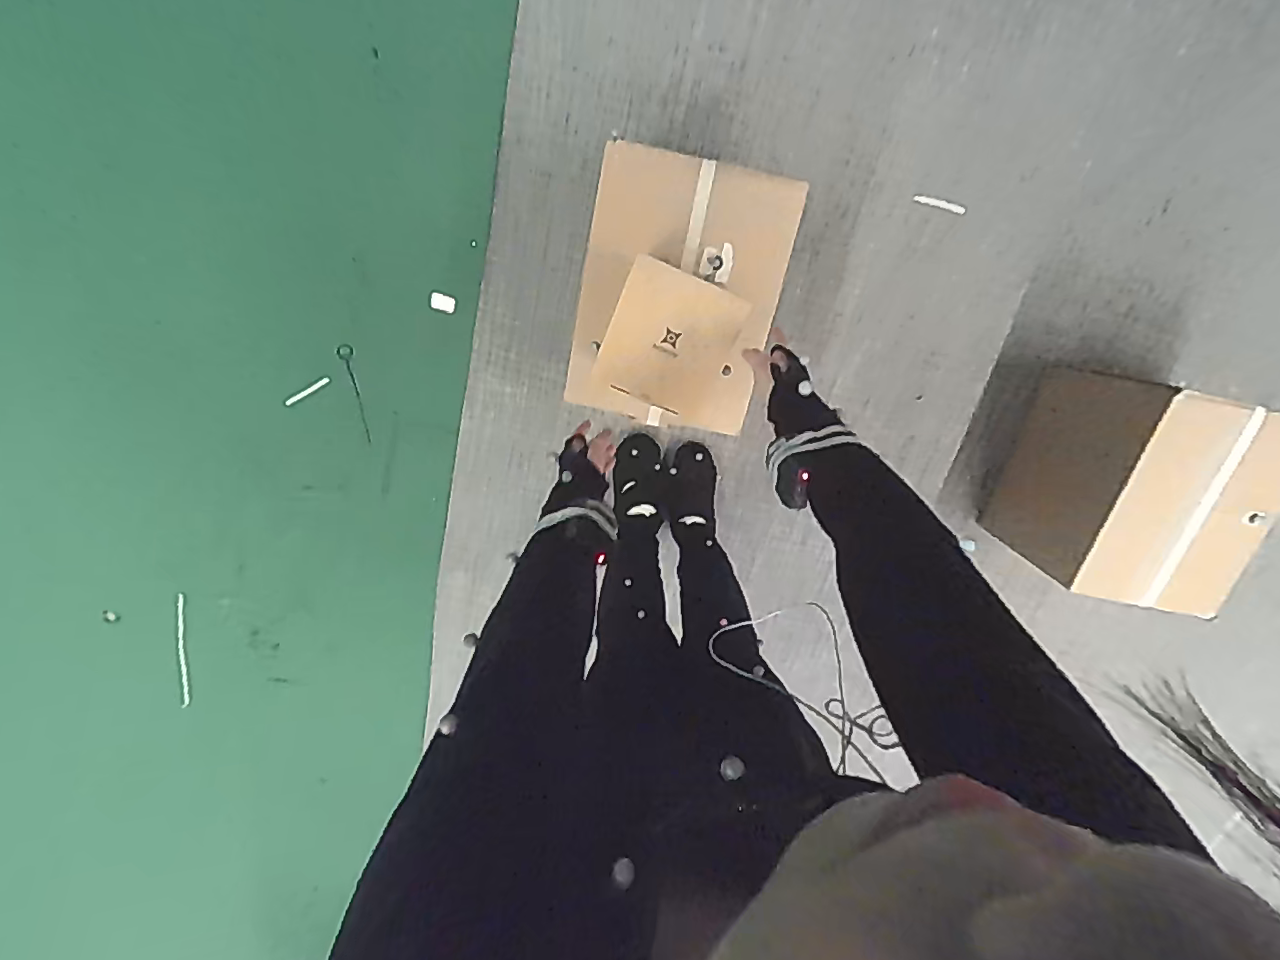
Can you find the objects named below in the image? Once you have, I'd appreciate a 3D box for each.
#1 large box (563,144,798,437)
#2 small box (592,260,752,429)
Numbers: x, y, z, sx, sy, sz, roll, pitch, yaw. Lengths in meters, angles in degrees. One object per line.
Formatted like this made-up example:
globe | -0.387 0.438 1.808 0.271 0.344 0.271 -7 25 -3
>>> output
large box | 0.055 -0.329 1.007 0.320 0.320 0.408 11 108 -4
small box | 0.039 -0.202 0.793 0.168 0.176 0.179 22 109 -7
